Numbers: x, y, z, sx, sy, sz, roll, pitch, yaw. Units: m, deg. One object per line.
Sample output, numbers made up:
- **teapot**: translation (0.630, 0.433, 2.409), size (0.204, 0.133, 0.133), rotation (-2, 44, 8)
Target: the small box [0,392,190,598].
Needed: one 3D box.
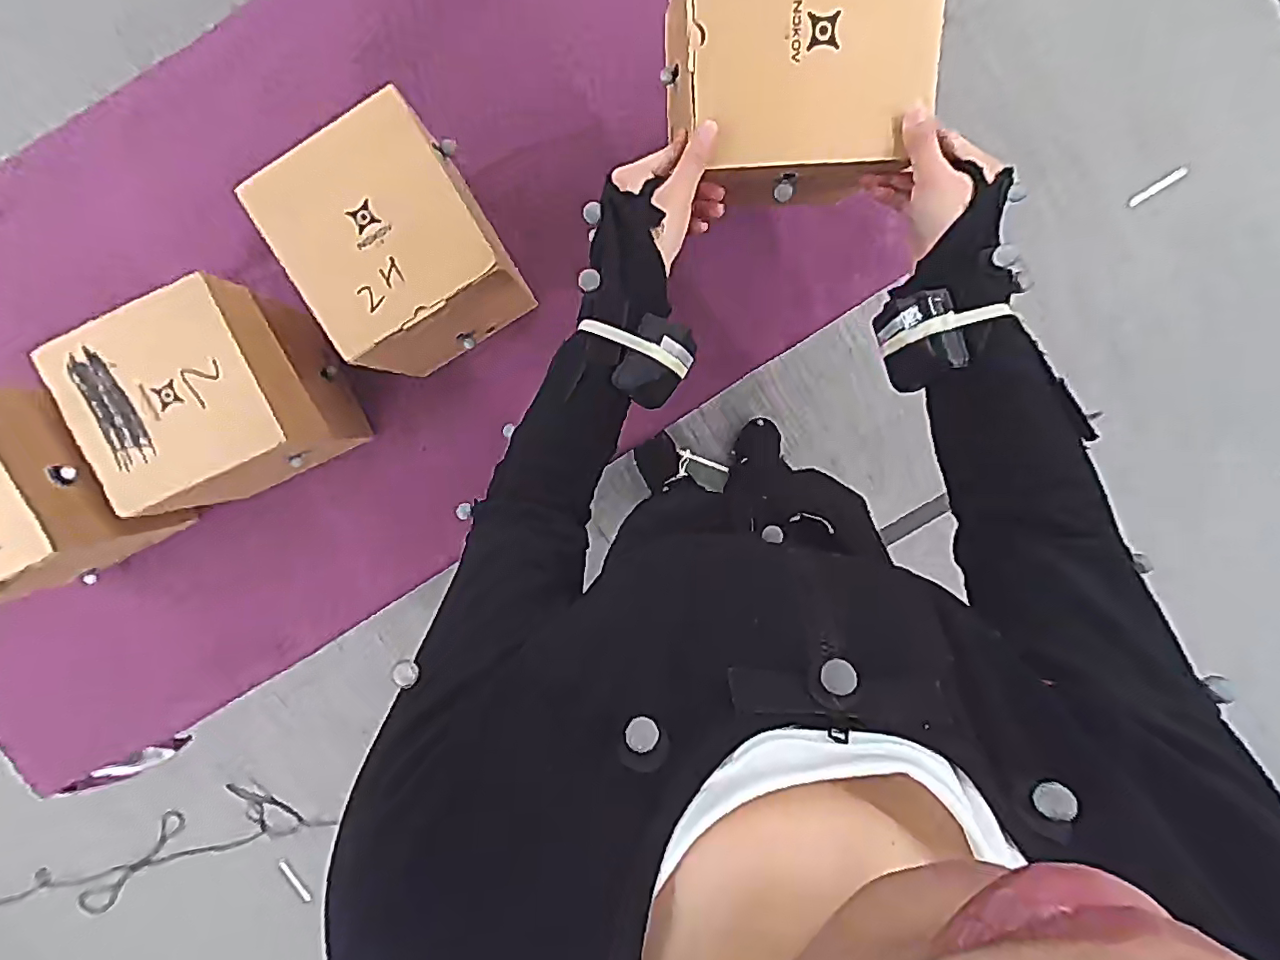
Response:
- **small box**: translation (-0.643, 0.014, 0.571), size (0.168, 0.176, 0.179), rotation (-26, 96, 2)

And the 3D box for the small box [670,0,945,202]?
- **small box**: translation (0.120, -0.335, 0.444), size (0.179, 0.176, 0.168), rotation (-3, 108, 0)

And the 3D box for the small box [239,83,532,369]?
- **small box**: translation (-0.234, -0.231, 0.546), size (0.168, 0.176, 0.179), rotation (-31, 95, 4)
